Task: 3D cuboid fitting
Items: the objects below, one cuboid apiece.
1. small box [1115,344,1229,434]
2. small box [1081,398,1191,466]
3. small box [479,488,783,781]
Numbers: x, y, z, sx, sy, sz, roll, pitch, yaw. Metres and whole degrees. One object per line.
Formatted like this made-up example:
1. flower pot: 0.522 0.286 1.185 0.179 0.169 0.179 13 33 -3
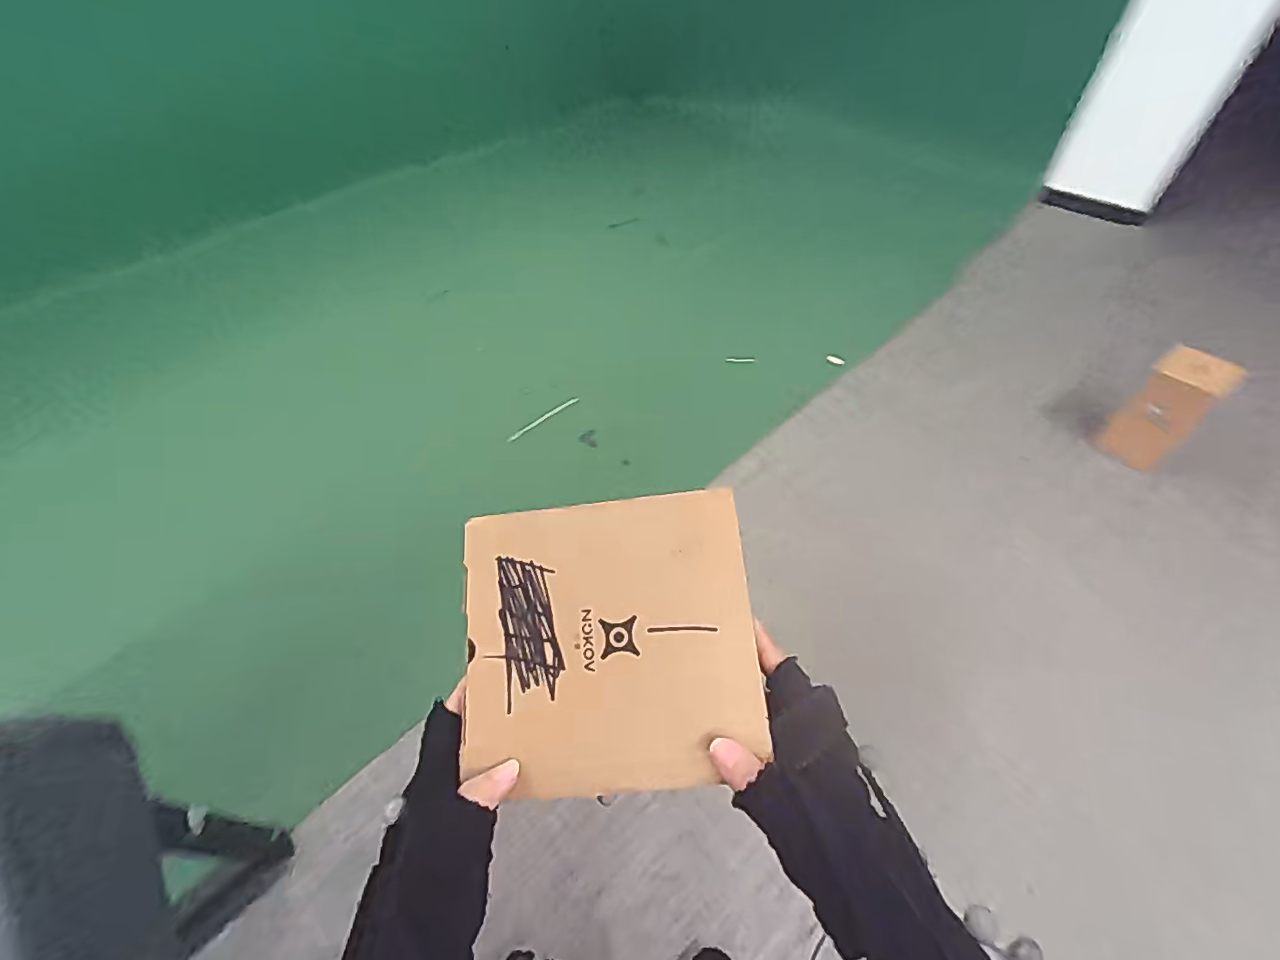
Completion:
1. small box: 1.607 -0.275 1.644 0.179 0.176 0.168 -35 55 -22
2. small box: 1.613 -0.168 1.766 0.168 0.176 0.179 -33 56 -22
3. small box: -0.001 0.116 0.402 0.179 0.176 0.168 -6 71 5
